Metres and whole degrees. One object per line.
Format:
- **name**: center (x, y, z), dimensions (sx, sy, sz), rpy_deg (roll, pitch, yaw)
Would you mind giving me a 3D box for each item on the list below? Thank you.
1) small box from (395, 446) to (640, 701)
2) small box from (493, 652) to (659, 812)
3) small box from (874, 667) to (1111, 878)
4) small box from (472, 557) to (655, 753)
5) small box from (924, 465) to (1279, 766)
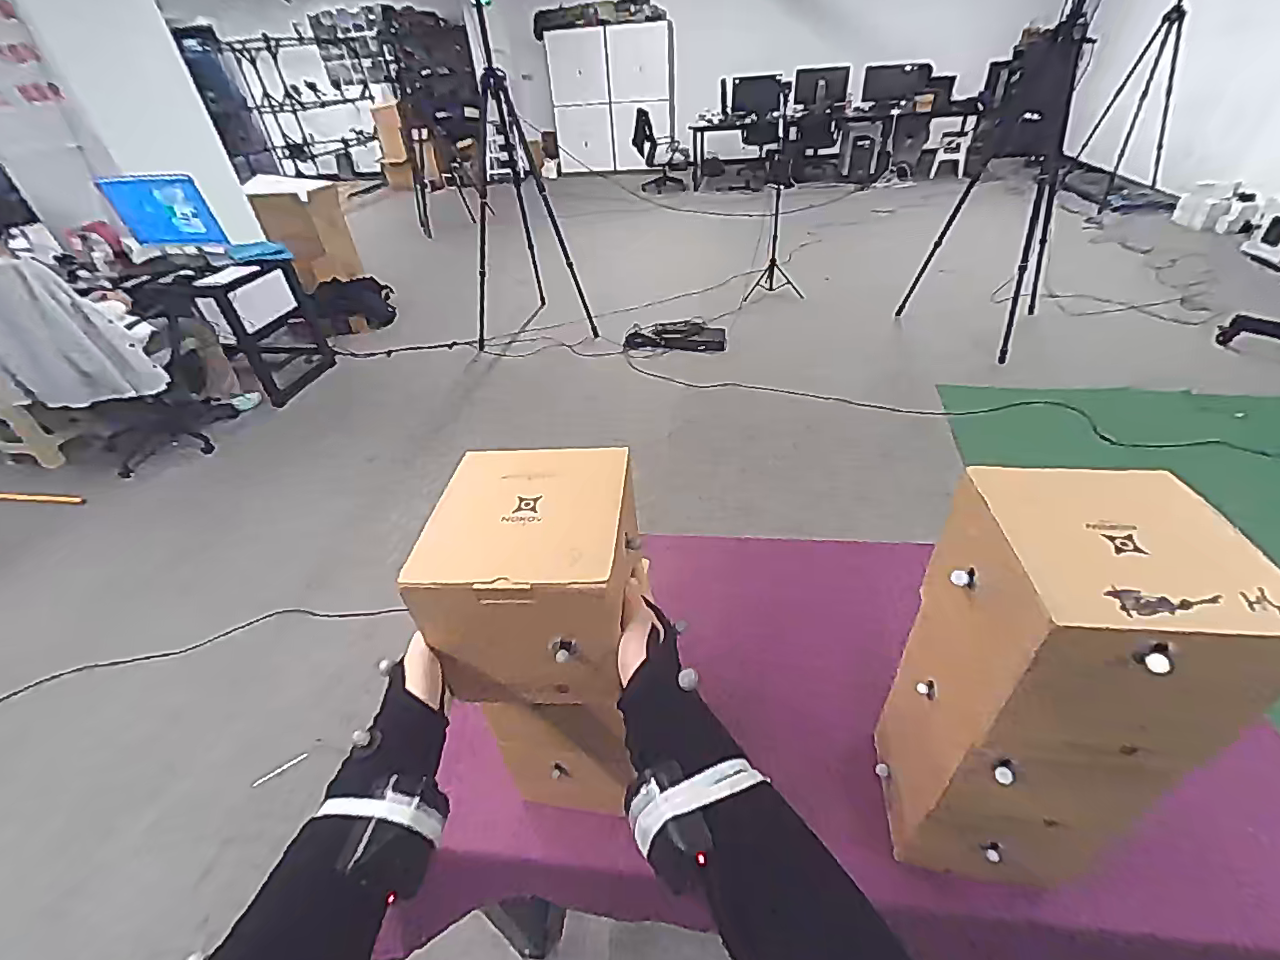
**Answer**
- **small box**: center (-0.091, 0.087, 0.508), dimensions (0.168, 0.176, 0.179), rpy_deg (-1, 39, 6)
- **small box**: center (-0.074, 0.331, 0.747), dimensions (0.179, 0.176, 0.168), rpy_deg (3, 39, 10)
- **small box**: center (0.404, 0.356, 0.660), dimensions (0.179, 0.176, 0.168), rpy_deg (2, 39, 11)
- **small box**: center (-0.080, 0.203, 0.646), dimensions (0.179, 0.176, 0.168), rpy_deg (2, 39, 11)
- **small box**: center (0.360, 0.104, 0.451), dimensions (0.168, 0.176, 0.179), rpy_deg (0, 37, 8)
